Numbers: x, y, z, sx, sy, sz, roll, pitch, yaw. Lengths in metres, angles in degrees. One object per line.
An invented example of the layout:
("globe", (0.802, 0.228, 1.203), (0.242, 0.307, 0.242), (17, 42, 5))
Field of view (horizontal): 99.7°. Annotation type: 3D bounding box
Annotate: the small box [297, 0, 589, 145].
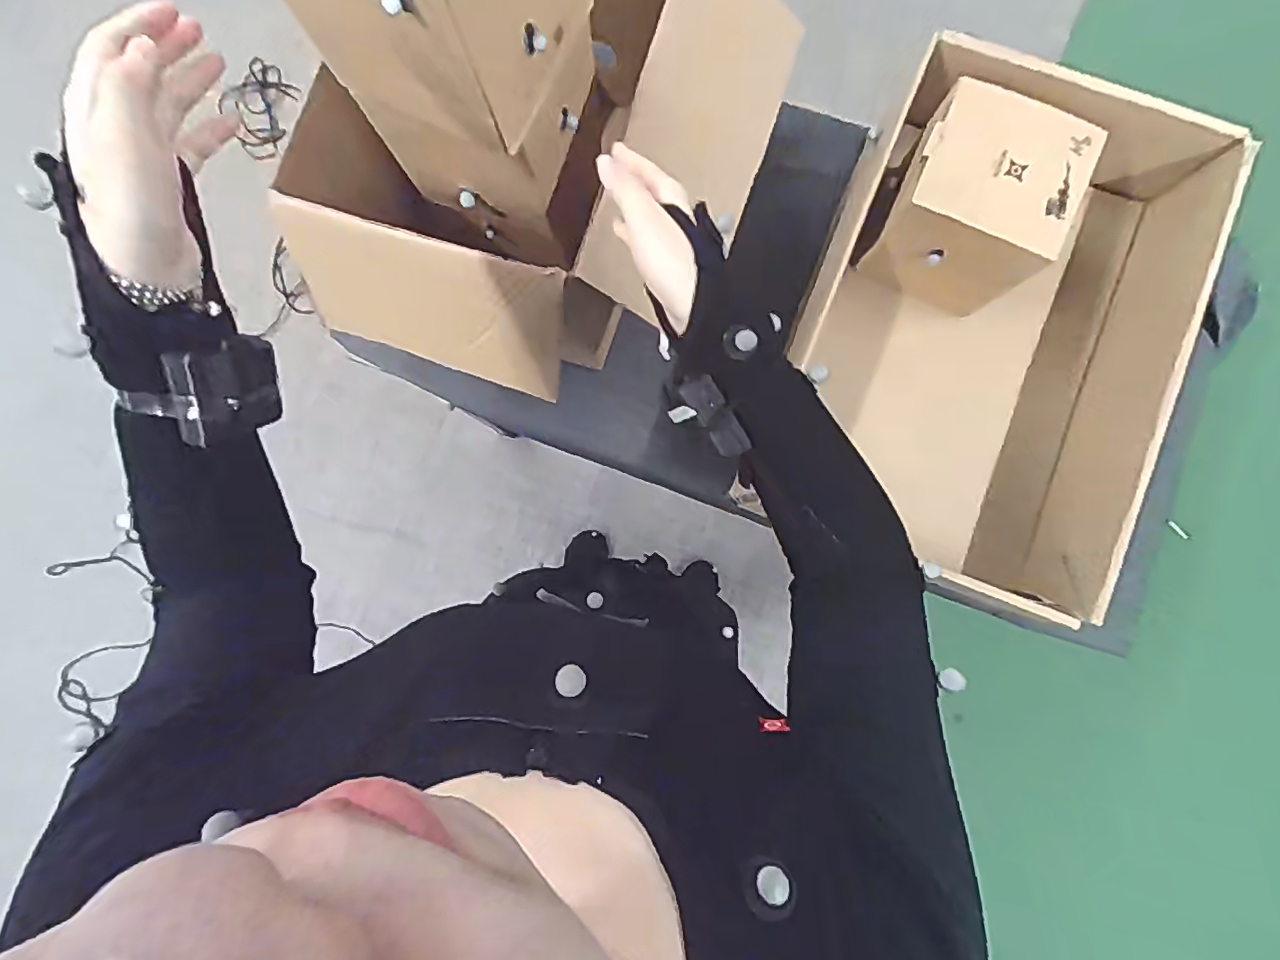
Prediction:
("small box", (-0.154, -0.397, 0.401), (0.179, 0.176, 0.168), (25, 87, 2))
